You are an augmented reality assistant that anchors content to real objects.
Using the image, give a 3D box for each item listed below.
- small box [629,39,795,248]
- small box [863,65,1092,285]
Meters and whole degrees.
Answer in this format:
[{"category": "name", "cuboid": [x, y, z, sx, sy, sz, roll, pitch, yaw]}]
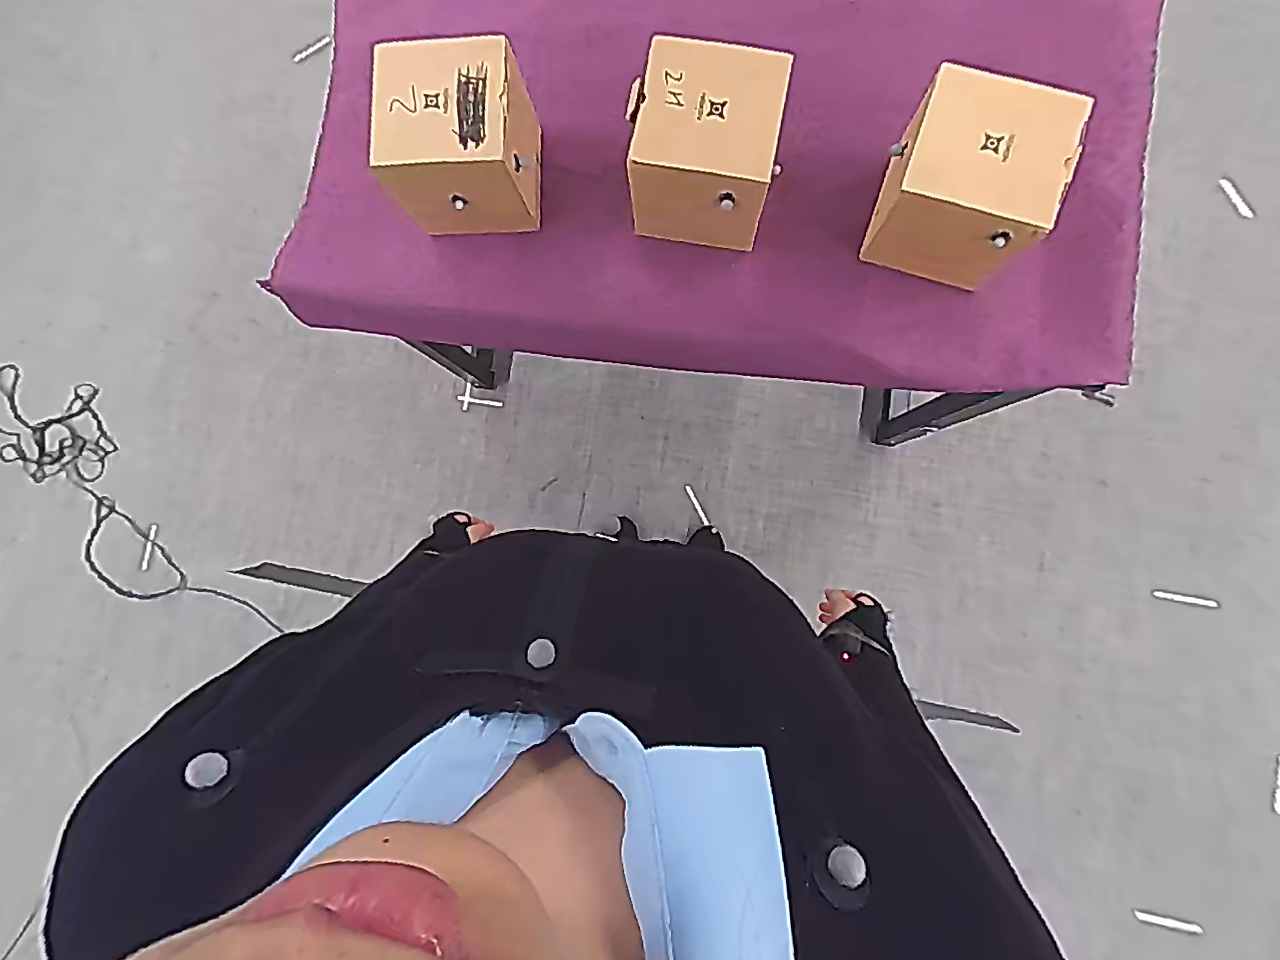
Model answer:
[{"category": "small box", "cuboid": [0.092, -0.437, 0.730, 0.179, 0.176, 0.168, 11, 86, 5]}, {"category": "small box", "cuboid": [0.416, -0.378, 0.700, 0.179, 0.176, 0.168, 18, 87, 6]}]
